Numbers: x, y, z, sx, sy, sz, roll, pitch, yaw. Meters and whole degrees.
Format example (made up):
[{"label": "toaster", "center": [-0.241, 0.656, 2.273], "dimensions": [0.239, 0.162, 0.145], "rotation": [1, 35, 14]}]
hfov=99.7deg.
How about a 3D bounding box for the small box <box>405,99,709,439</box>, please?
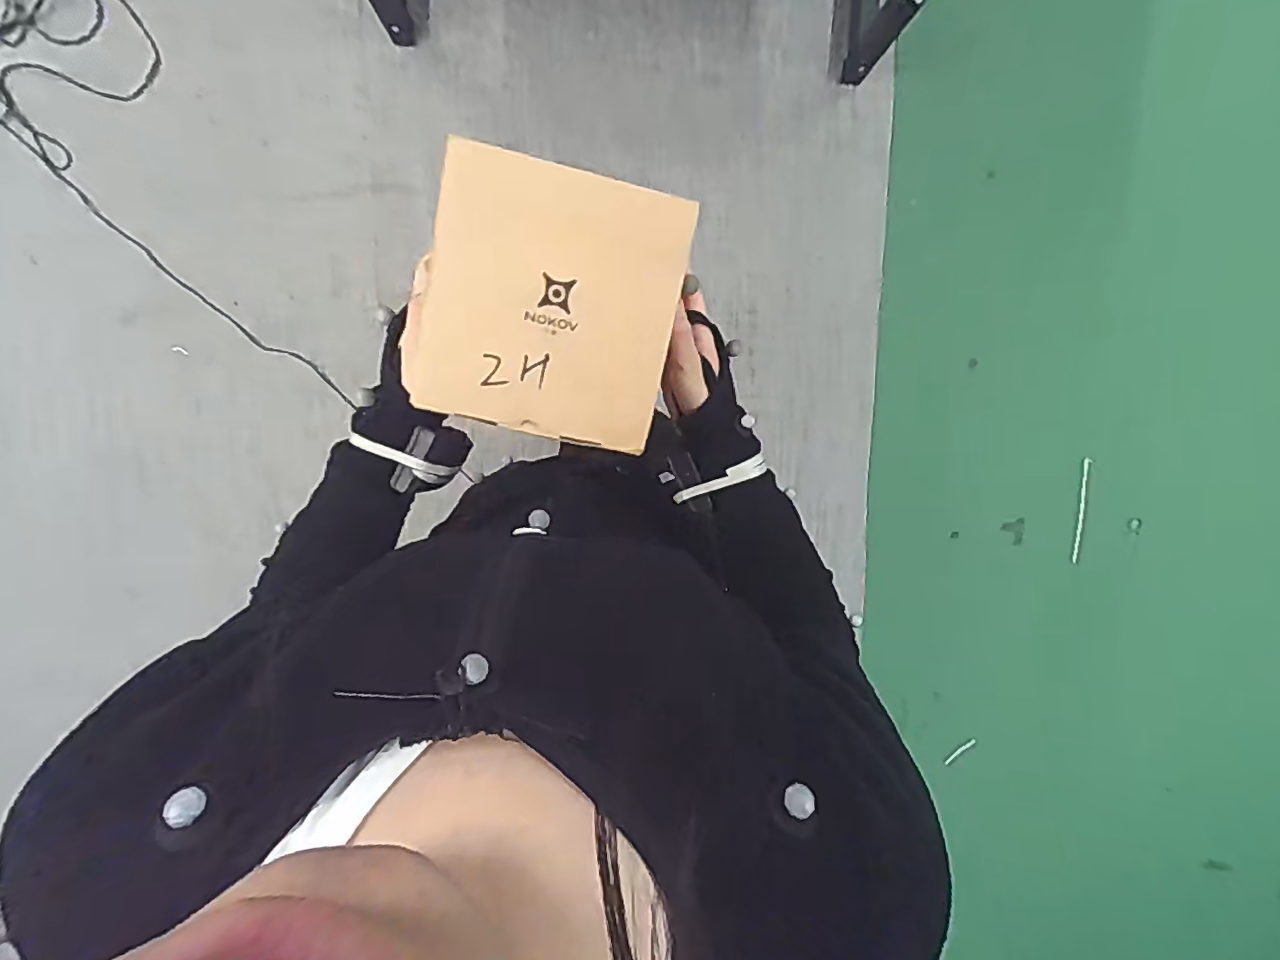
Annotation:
[{"label": "small box", "center": [-0.061, -0.142, 0.423], "dimensions": [0.168, 0.176, 0.179], "rotation": [13, 99, -7]}]
